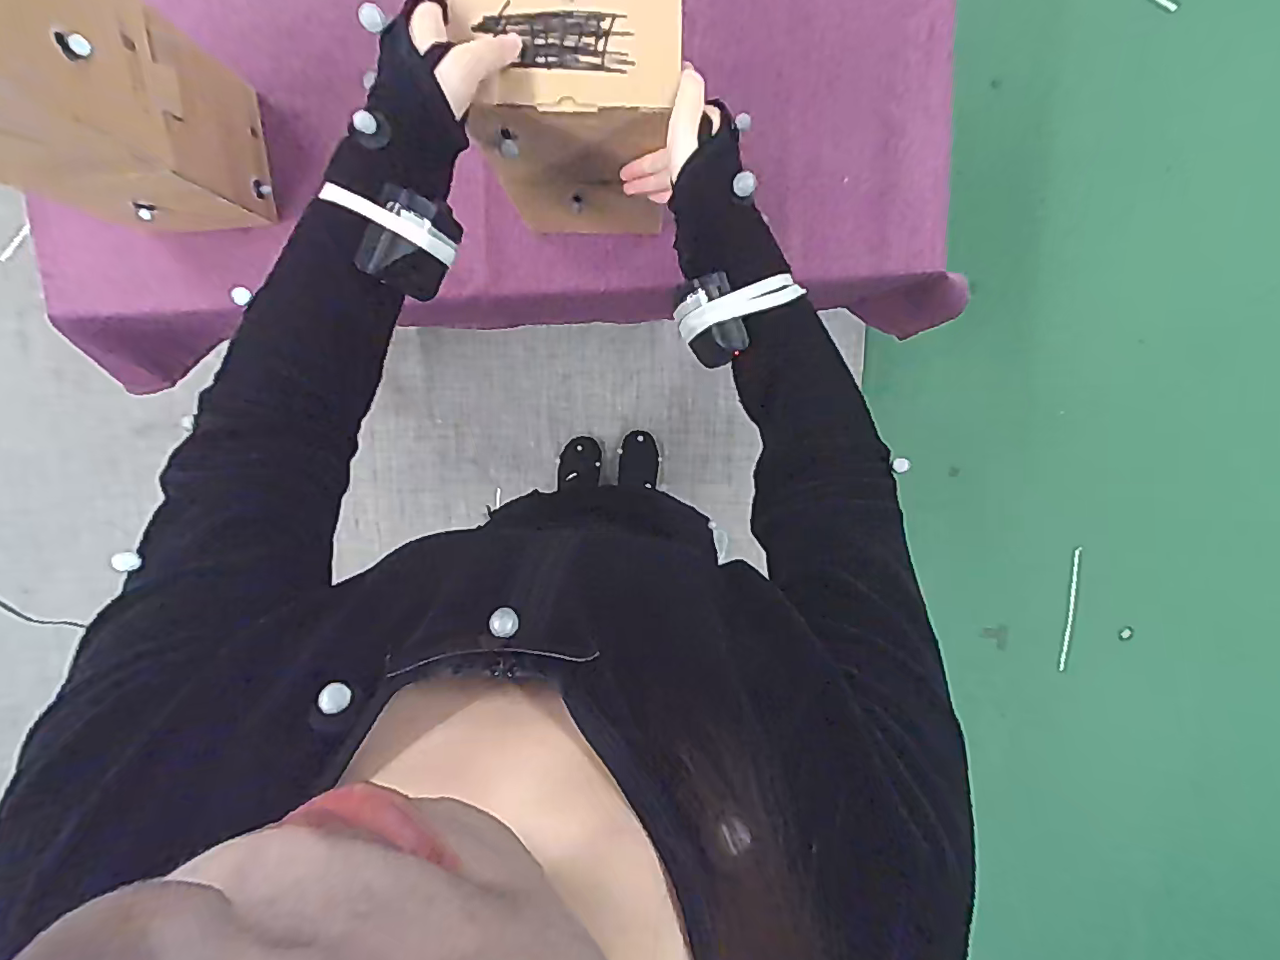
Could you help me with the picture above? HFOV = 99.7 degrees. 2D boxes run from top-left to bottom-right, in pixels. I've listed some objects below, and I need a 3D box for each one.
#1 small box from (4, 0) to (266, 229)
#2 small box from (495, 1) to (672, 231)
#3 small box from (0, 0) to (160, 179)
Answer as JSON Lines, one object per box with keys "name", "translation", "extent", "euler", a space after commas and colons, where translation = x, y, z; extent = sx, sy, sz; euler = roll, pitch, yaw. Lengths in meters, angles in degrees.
{"name": "small box", "translation": [-0.564, -0.400, 0.615], "extent": [0.179, 0.176, 0.168], "euler": [-5, 98, 1]}
{"name": "small box", "translation": [-0.057, -0.397, 0.620], "extent": [0.179, 0.176, 0.168], "euler": [2, 99, -1]}
{"name": "small box", "translation": [-0.558, -0.377, 0.454], "extent": [0.179, 0.176, 0.168], "euler": [-6, 98, 1]}
